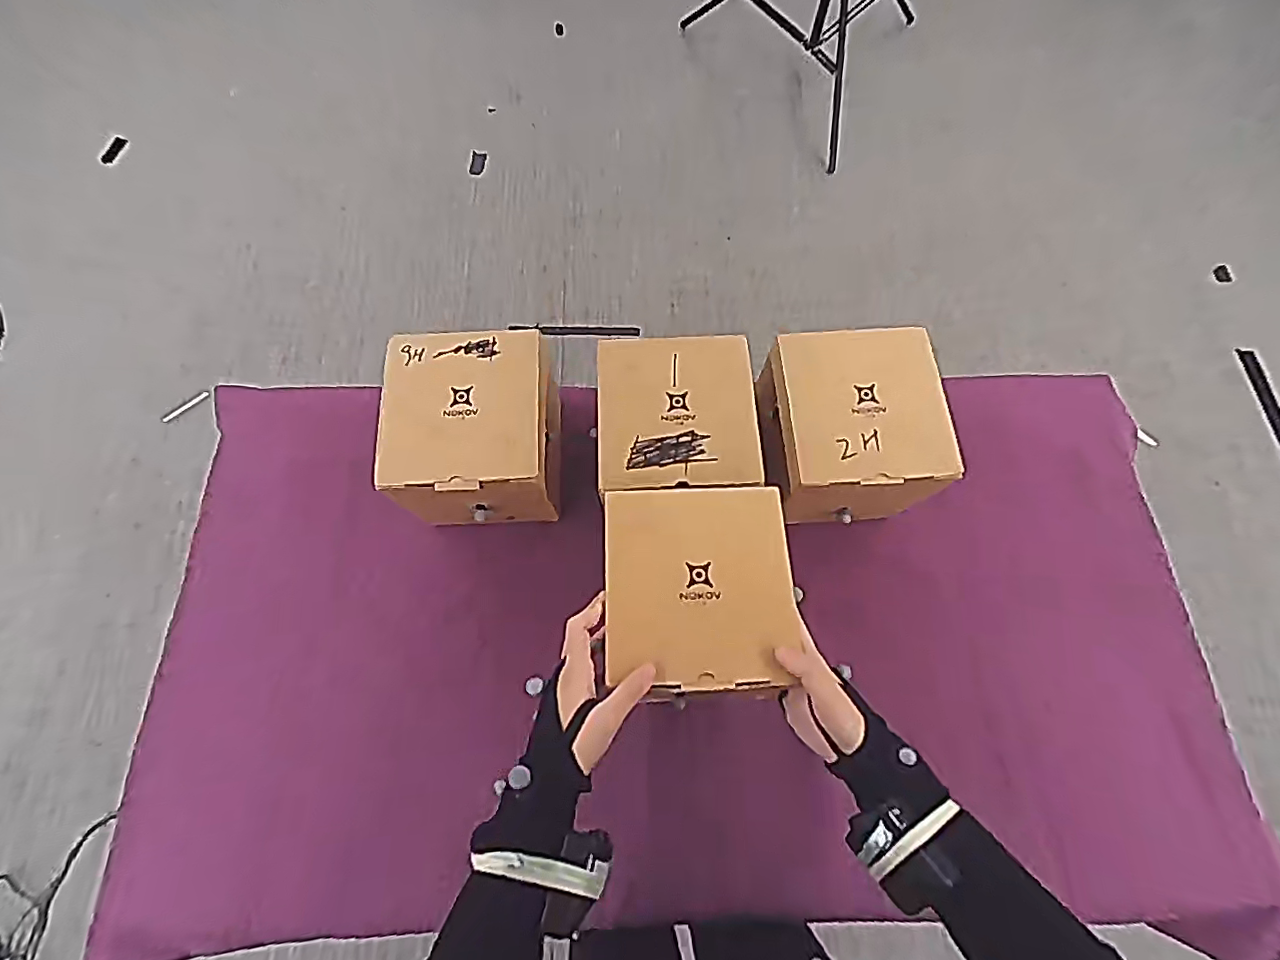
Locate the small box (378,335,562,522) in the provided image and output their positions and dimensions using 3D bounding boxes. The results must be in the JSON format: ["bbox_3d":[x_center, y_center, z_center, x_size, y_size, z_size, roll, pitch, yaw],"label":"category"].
[{"bbox_3d":[-0.185,-0.049,0.639,0.168,0.176,0.179,-3,73,-1],"label":"small box"}]
